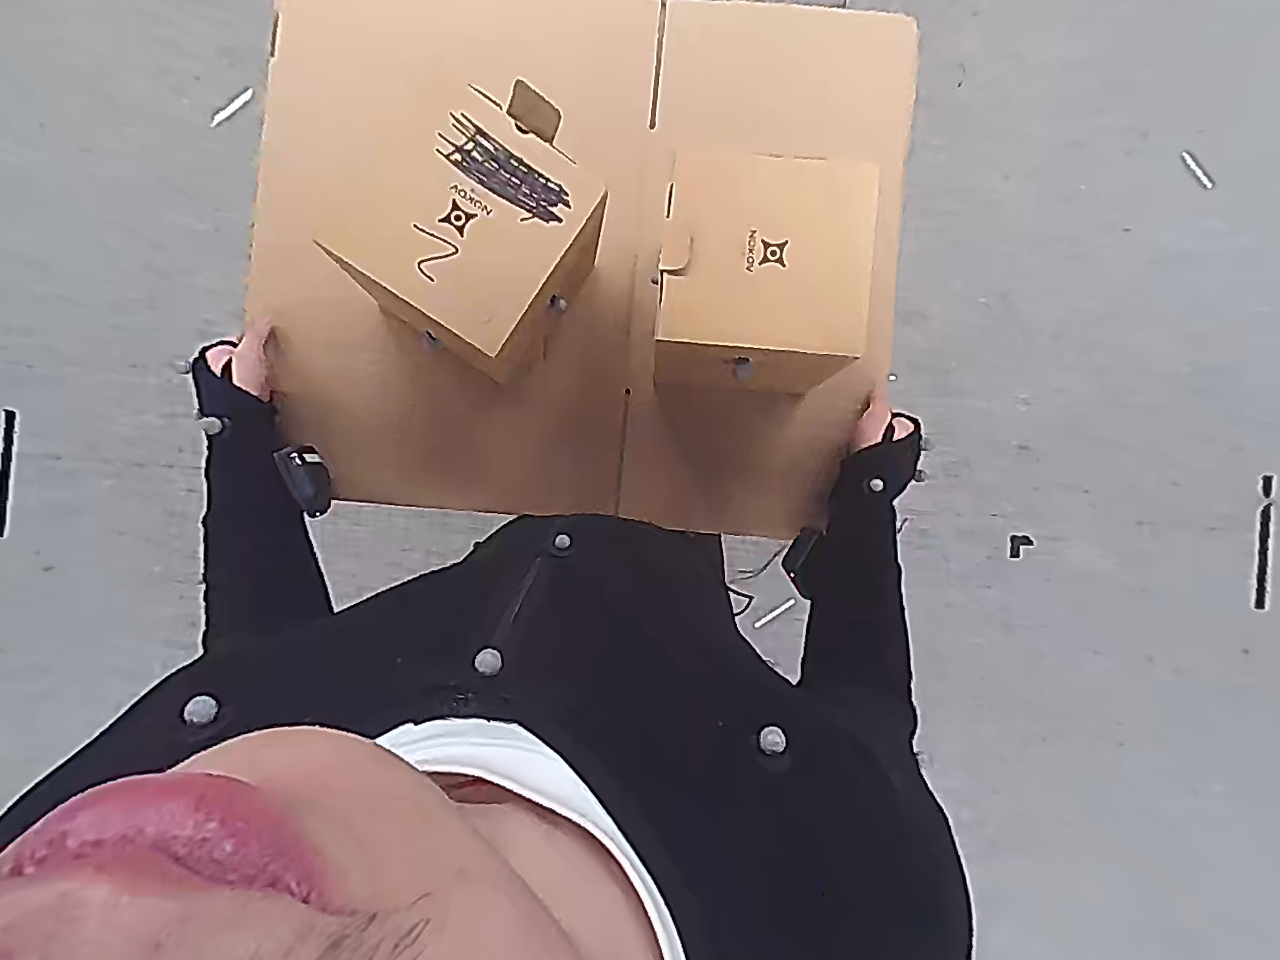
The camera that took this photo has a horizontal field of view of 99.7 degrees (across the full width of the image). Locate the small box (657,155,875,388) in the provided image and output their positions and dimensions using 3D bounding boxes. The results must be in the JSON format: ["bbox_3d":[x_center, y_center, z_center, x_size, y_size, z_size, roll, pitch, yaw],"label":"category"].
[{"bbox_3d":[0.112,-0.192,0.547,0.179,0.176,0.168,5,89,2],"label":"small box"}]
